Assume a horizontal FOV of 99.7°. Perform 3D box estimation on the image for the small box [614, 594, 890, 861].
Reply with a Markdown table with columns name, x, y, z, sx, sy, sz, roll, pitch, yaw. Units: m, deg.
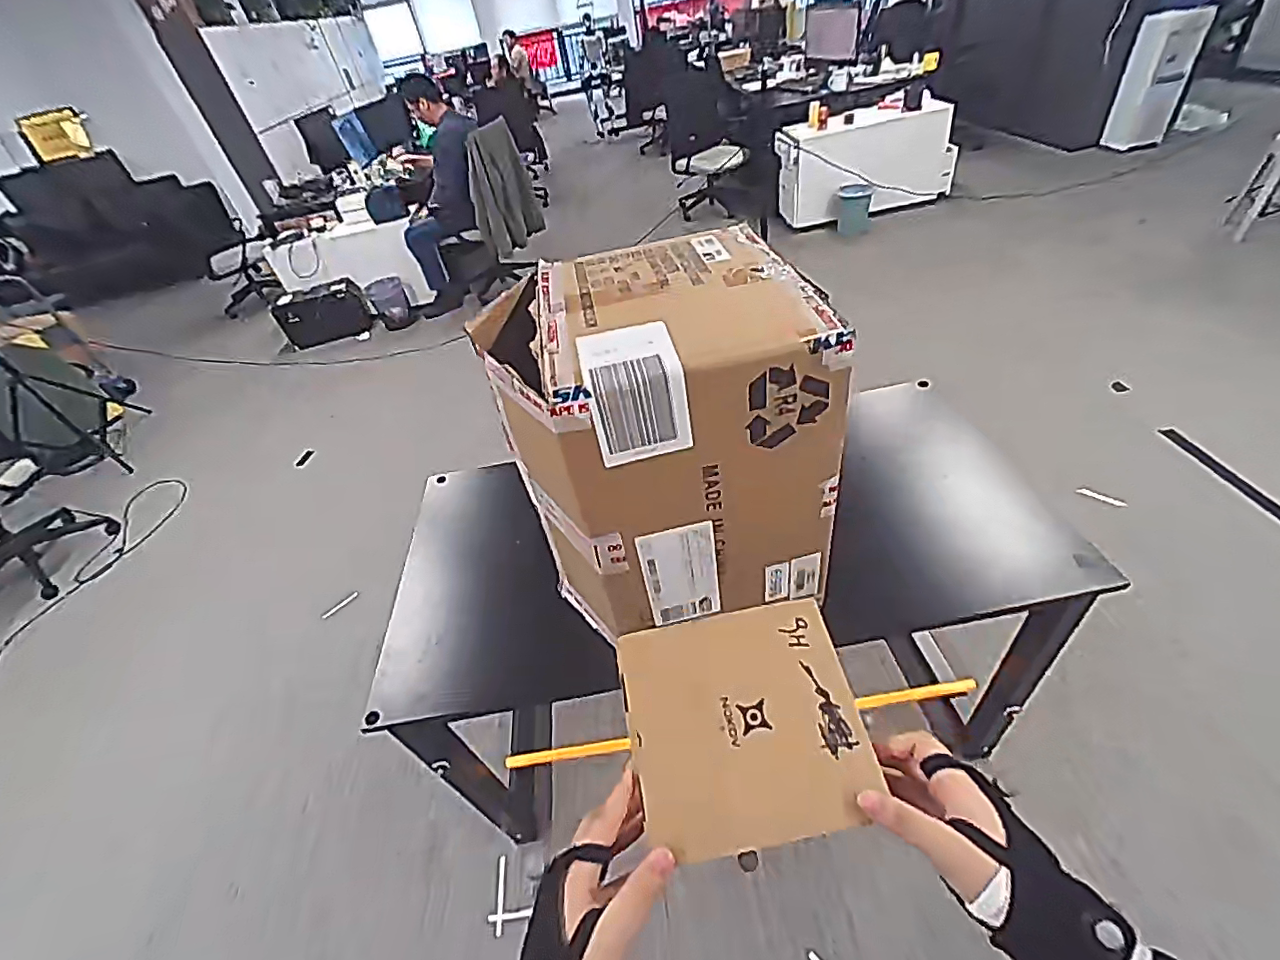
| name | x | y | z | sx | sy | sz | roll | pitch | yaw |
| --- | --- | --- | --- | --- | --- | --- | --- | --- | --- |
| small box | 0.084 | 0.224 | 0.478 | 0.179 | 0.176 | 0.168 | -11 | 54 | -1 |
